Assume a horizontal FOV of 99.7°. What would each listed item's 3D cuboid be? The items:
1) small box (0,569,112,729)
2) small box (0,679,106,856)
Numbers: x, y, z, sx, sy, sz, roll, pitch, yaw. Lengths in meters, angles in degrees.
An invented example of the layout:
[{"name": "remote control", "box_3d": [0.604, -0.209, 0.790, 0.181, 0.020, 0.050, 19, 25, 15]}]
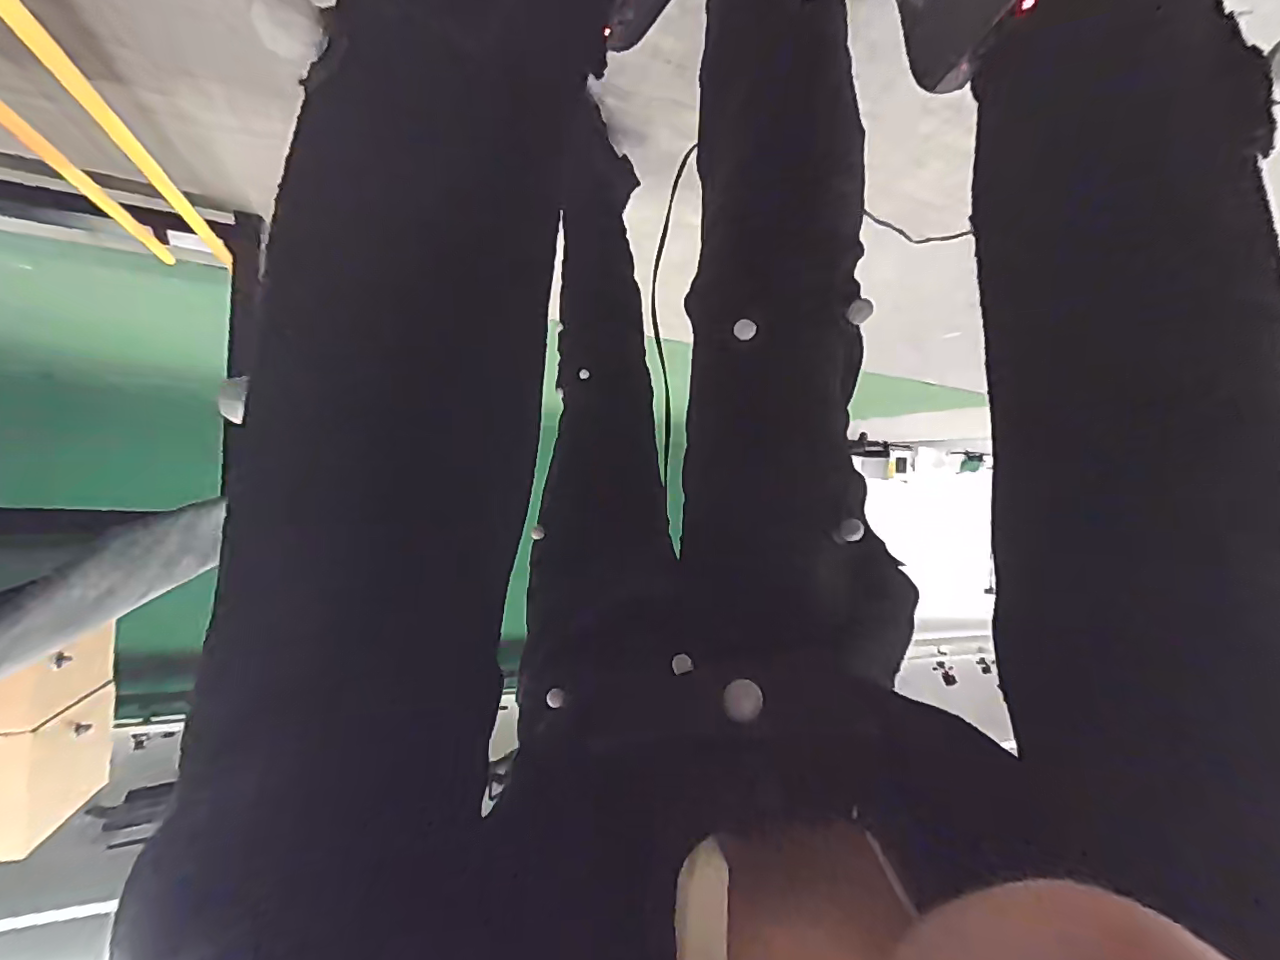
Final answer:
[{"name": "small box", "box_3d": [-0.867, 0.219, 0.729, 0.168, 0.176, 0.179, 5, -179, -18]}, {"name": "small box", "box_3d": [-0.881, 0.383, 0.735, 0.168, 0.176, 0.179, 5, 180, -19]}]
